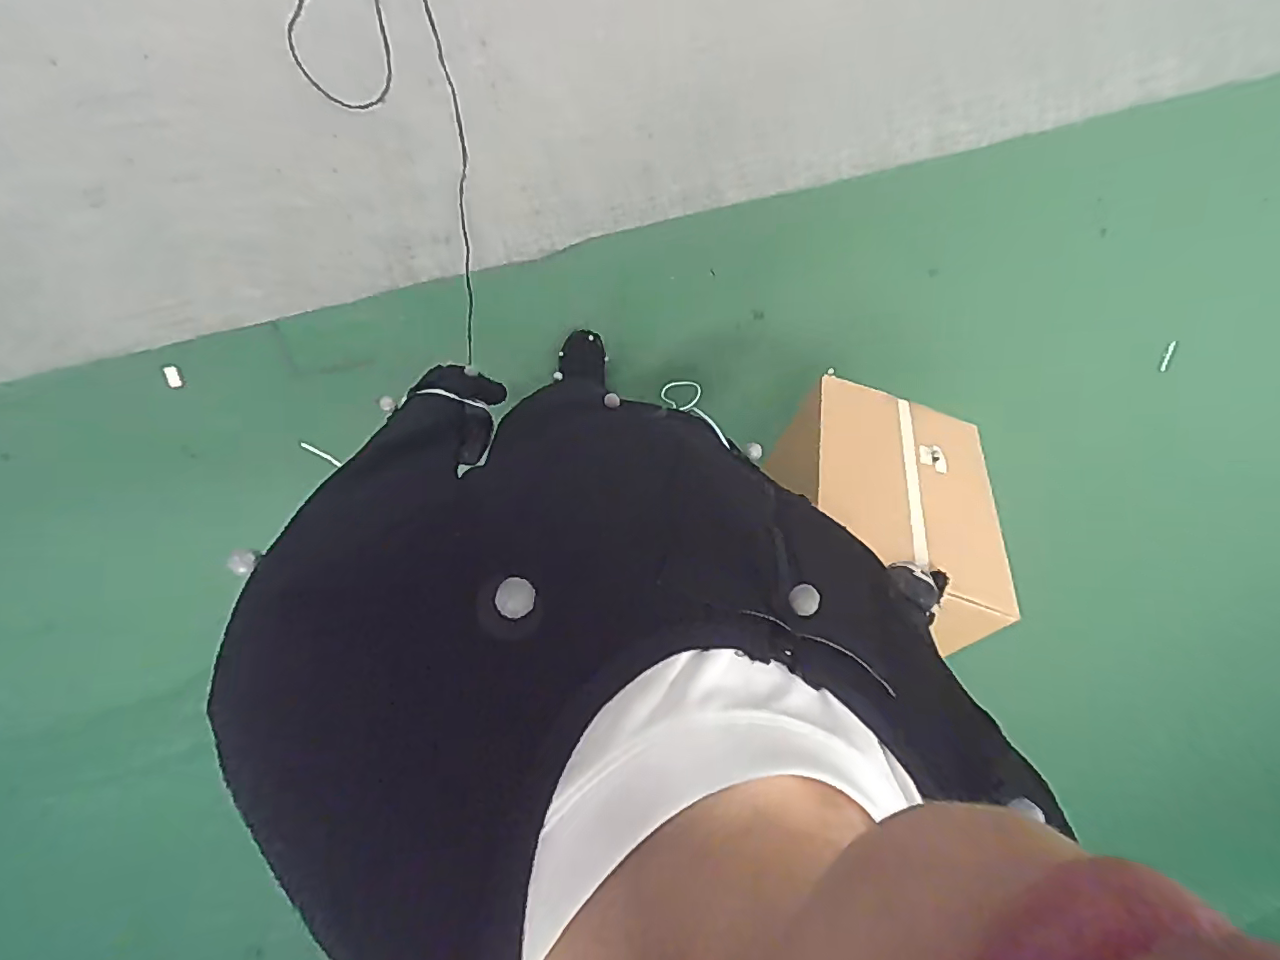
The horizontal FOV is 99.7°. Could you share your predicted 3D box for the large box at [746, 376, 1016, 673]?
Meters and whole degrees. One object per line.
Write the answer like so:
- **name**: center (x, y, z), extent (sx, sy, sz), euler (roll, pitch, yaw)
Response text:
- **large box**: center (0.410, 0.086, 1.013), extent (0.320, 0.408, 0.320), euler (19, 141, -2)
